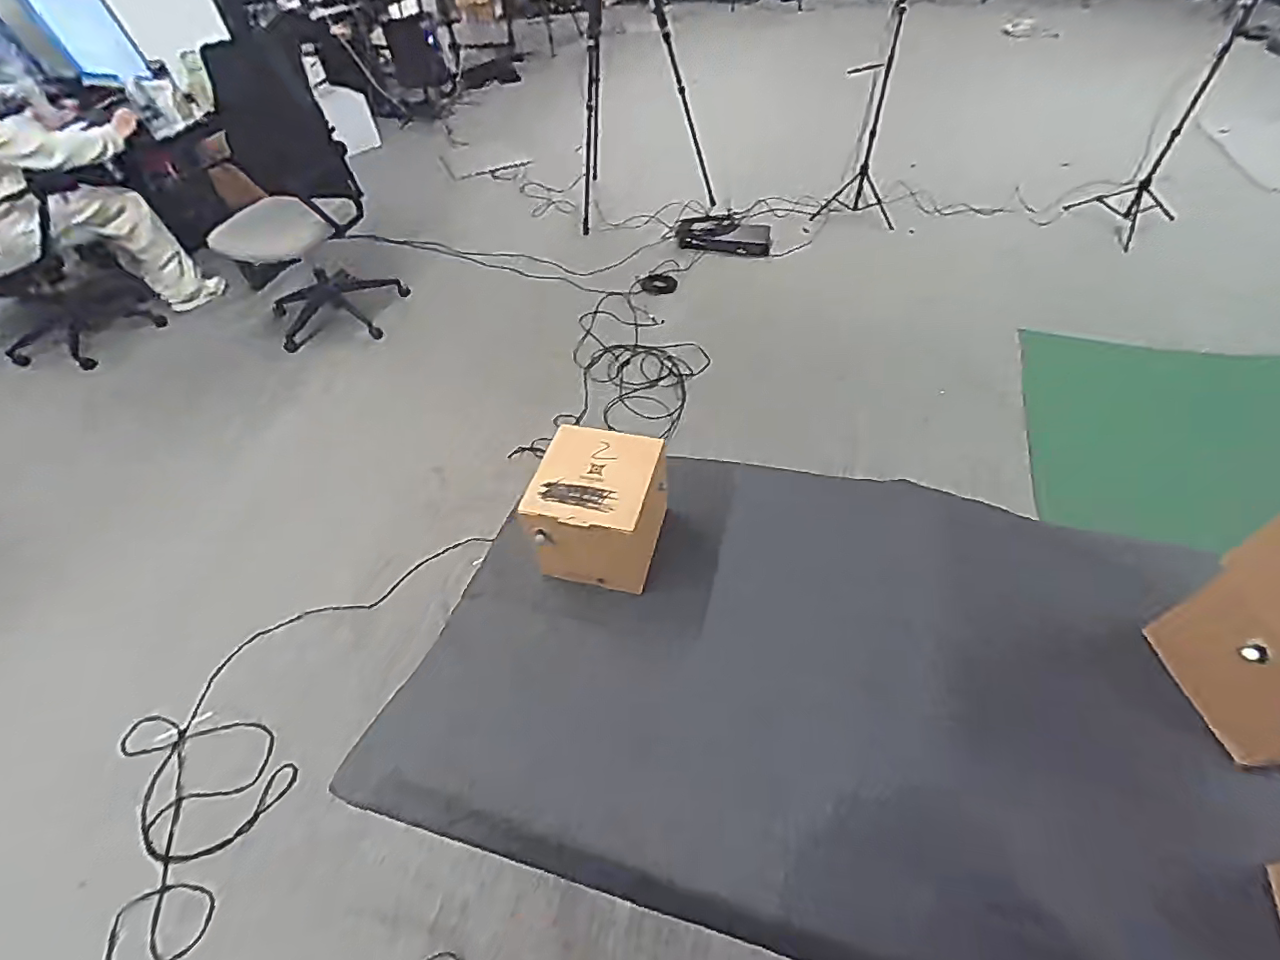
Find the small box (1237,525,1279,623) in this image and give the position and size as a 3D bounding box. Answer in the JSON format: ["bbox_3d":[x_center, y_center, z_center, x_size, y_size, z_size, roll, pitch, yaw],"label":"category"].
[{"bbox_3d":[0.733,0.100,0.491,0.168,0.176,0.179,-2,51,7],"label":"small box"}]

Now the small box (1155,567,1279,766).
[{"bbox_3d":[0.763,0.207,0.614,0.168,0.176,0.179,-7,52,2],"label":"small box"}]
